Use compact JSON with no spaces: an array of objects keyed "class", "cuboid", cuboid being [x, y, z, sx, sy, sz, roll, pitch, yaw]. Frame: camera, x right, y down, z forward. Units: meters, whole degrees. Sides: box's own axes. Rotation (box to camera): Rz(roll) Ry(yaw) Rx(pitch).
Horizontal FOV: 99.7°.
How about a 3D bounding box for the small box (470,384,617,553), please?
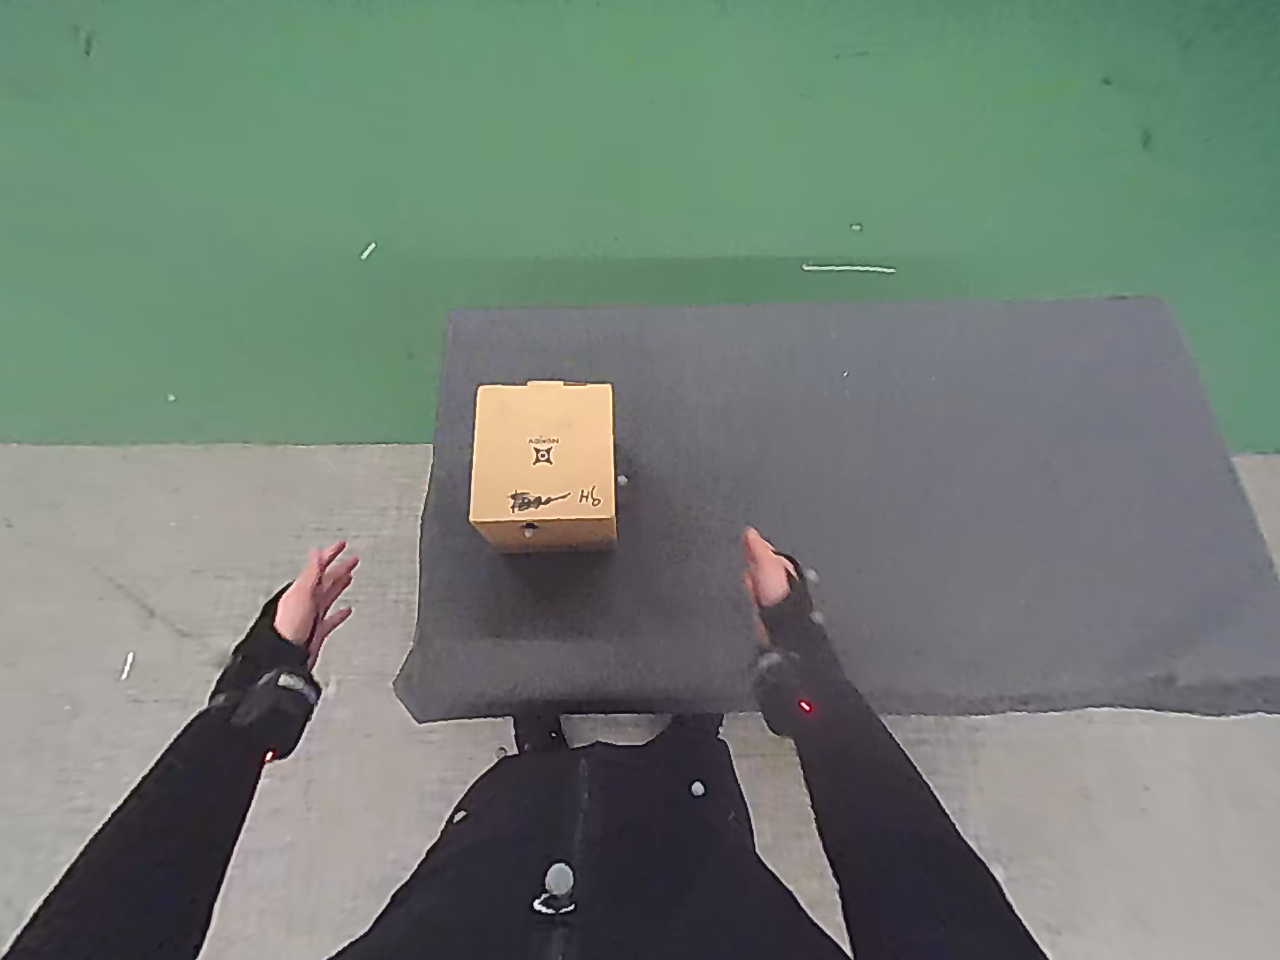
[{"class":"small box","cuboid":[-0.115,-0.009,0.711,0.168,0.176,0.179,-2,70,-2]}]
